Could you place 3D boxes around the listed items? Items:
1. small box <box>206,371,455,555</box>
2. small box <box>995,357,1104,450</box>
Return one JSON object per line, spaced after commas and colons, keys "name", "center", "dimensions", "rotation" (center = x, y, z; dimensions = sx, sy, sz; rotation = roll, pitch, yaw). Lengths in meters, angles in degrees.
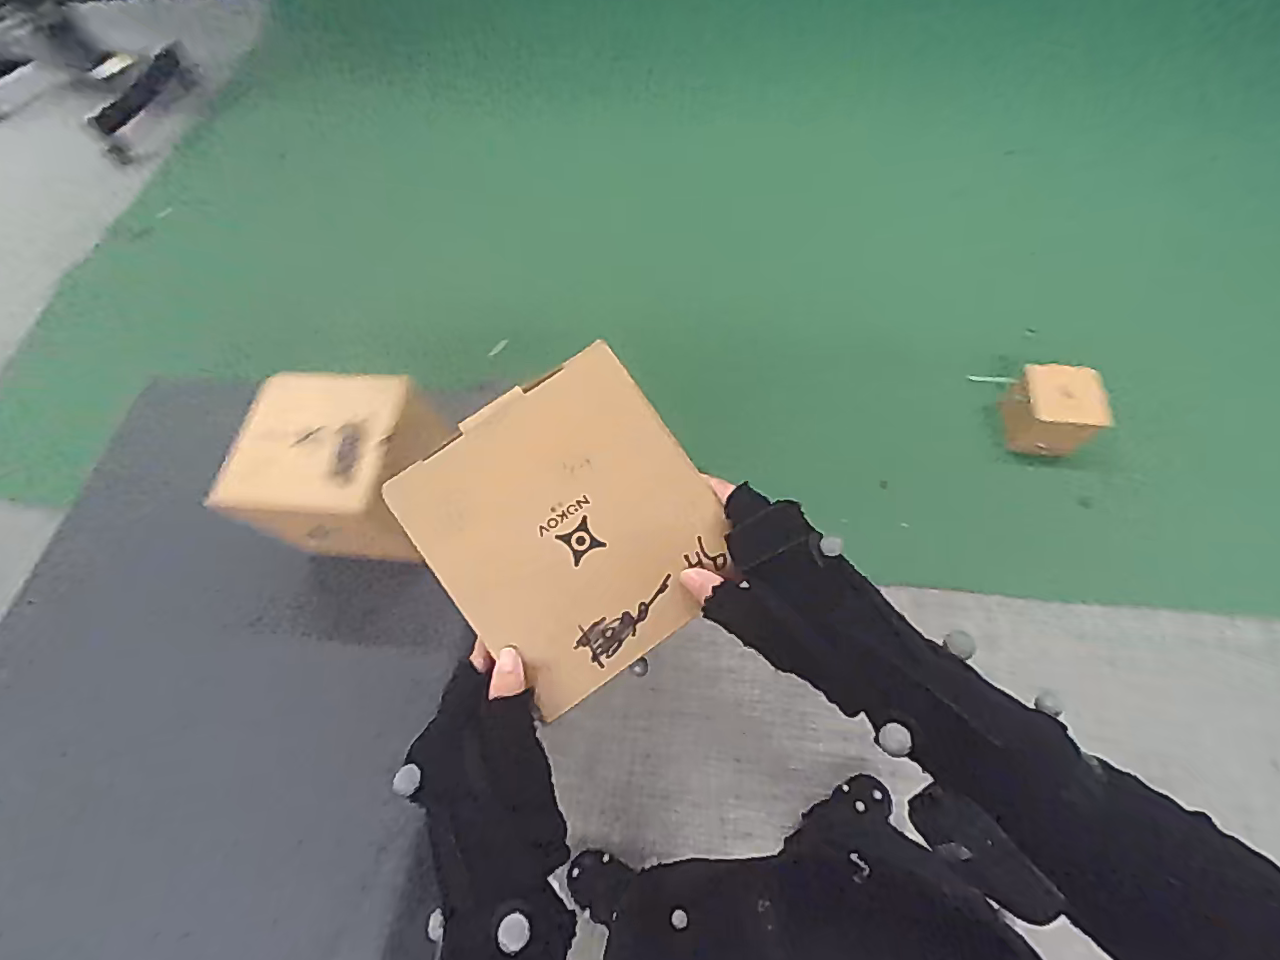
{"name": "small box", "center": [-0.350, -0.013, 0.654], "dimensions": [0.179, 0.176, 0.168], "rotation": [3, 65, 8]}
{"name": "small box", "center": [1.072, -0.201, 1.434], "dimensions": [0.168, 0.176, 0.179], "rotation": [6, 65, 9]}
